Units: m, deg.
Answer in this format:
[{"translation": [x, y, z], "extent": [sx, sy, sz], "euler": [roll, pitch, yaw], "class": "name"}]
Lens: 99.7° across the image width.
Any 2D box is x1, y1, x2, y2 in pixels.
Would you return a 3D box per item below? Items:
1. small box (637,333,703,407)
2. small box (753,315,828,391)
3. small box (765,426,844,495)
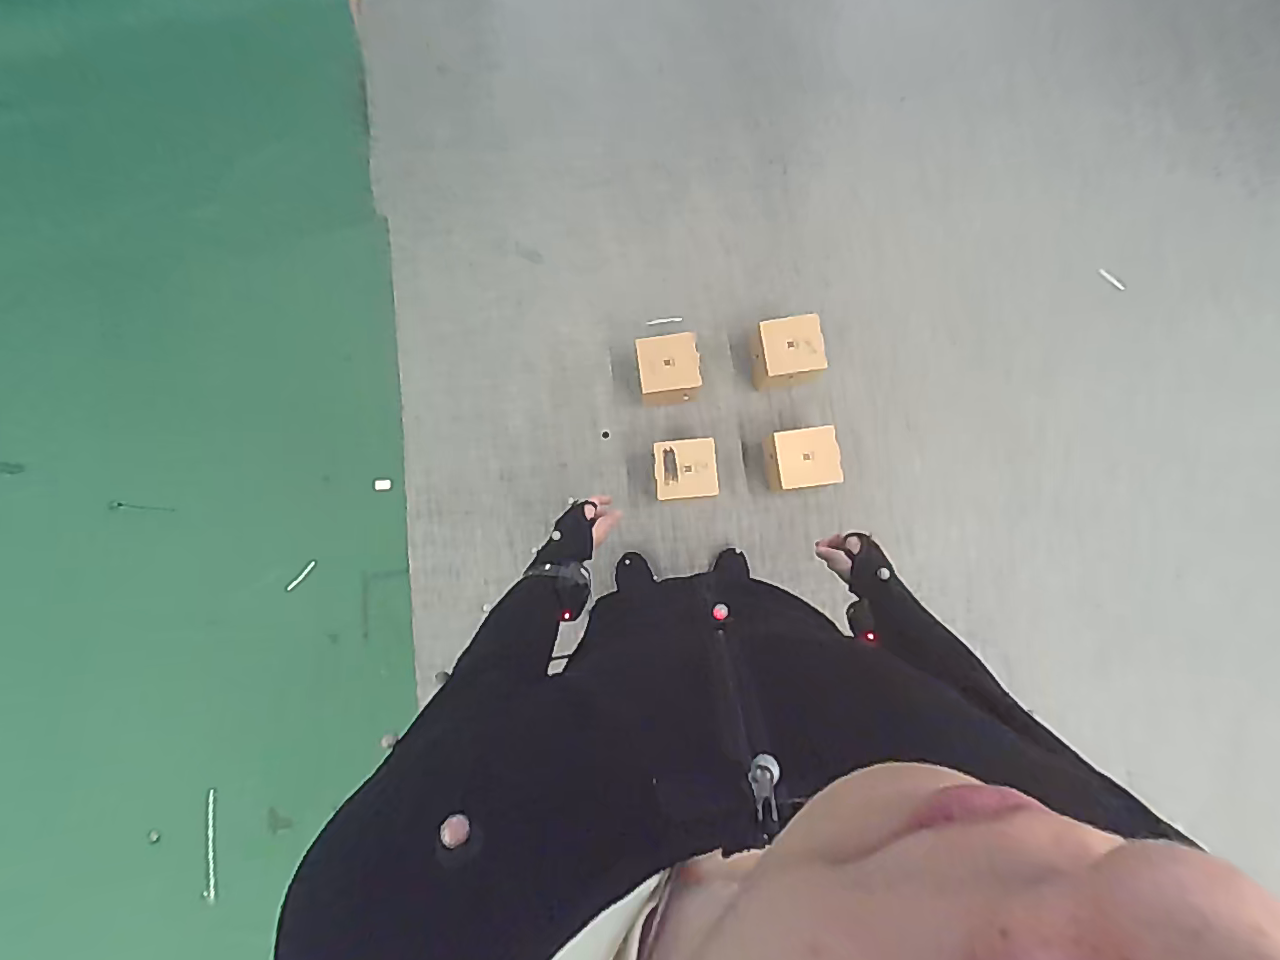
[{"translation": [0.087, -0.326, 1.622], "extent": [0.179, 0.176, 0.168], "euler": [-6, 82, 1], "class": "small box"}, {"translation": [0.442, -0.372, 1.615], "extent": [0.179, 0.176, 0.168], "euler": [-7, 84, 1], "class": "small box"}, {"translation": [0.472, -0.051, 1.580], "extent": [0.179, 0.176, 0.168], "euler": [-7, 83, 0], "class": "small box"}]
